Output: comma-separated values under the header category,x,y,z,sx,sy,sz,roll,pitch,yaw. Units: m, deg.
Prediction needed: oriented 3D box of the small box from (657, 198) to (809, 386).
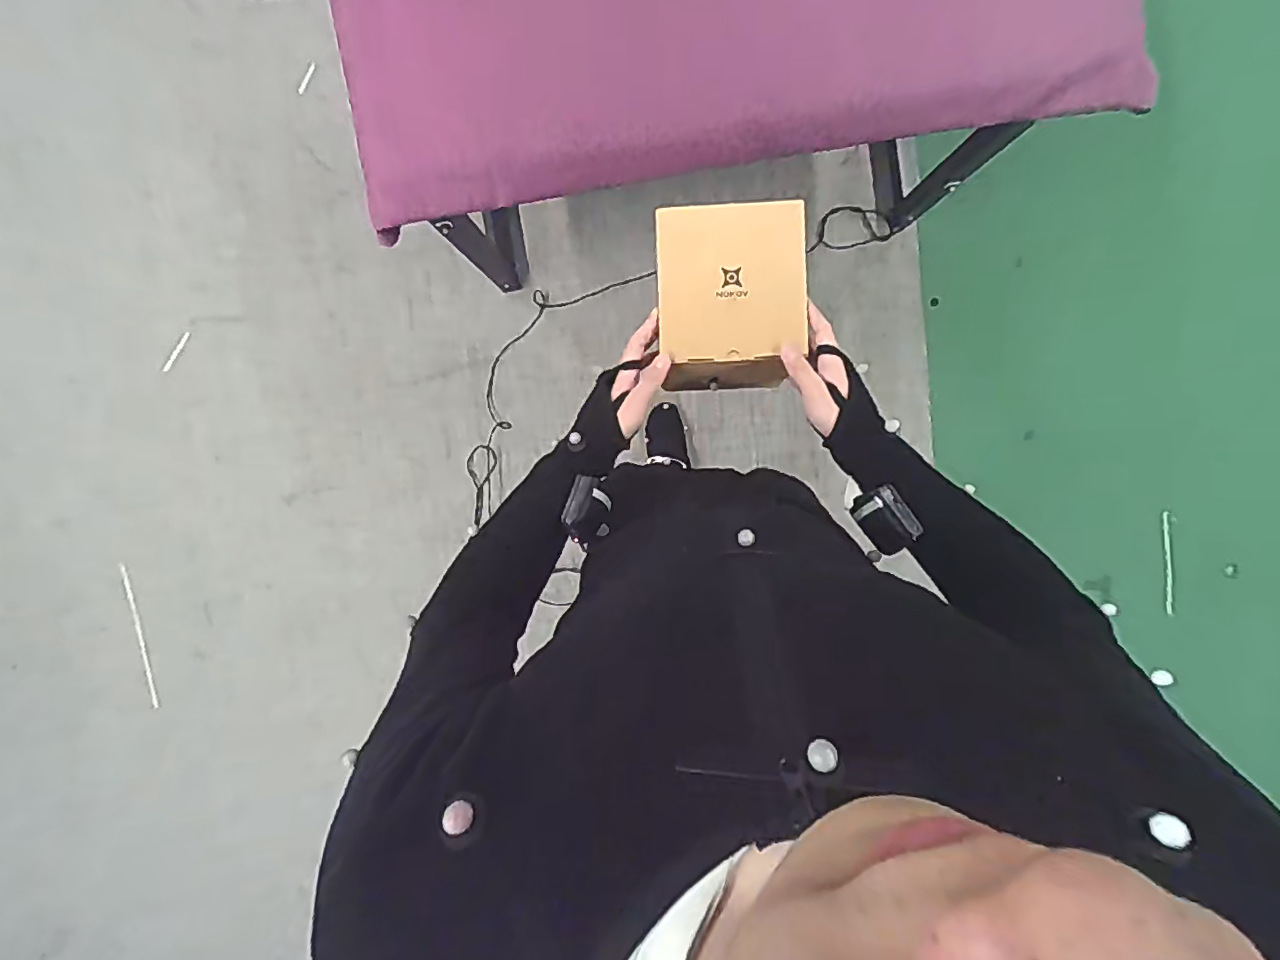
category,x,y,z,sx,sy,sz,roll,pitch,yaw
small box,0.105,-0.221,0.674,0.168,0.176,0.179,-2,91,4
